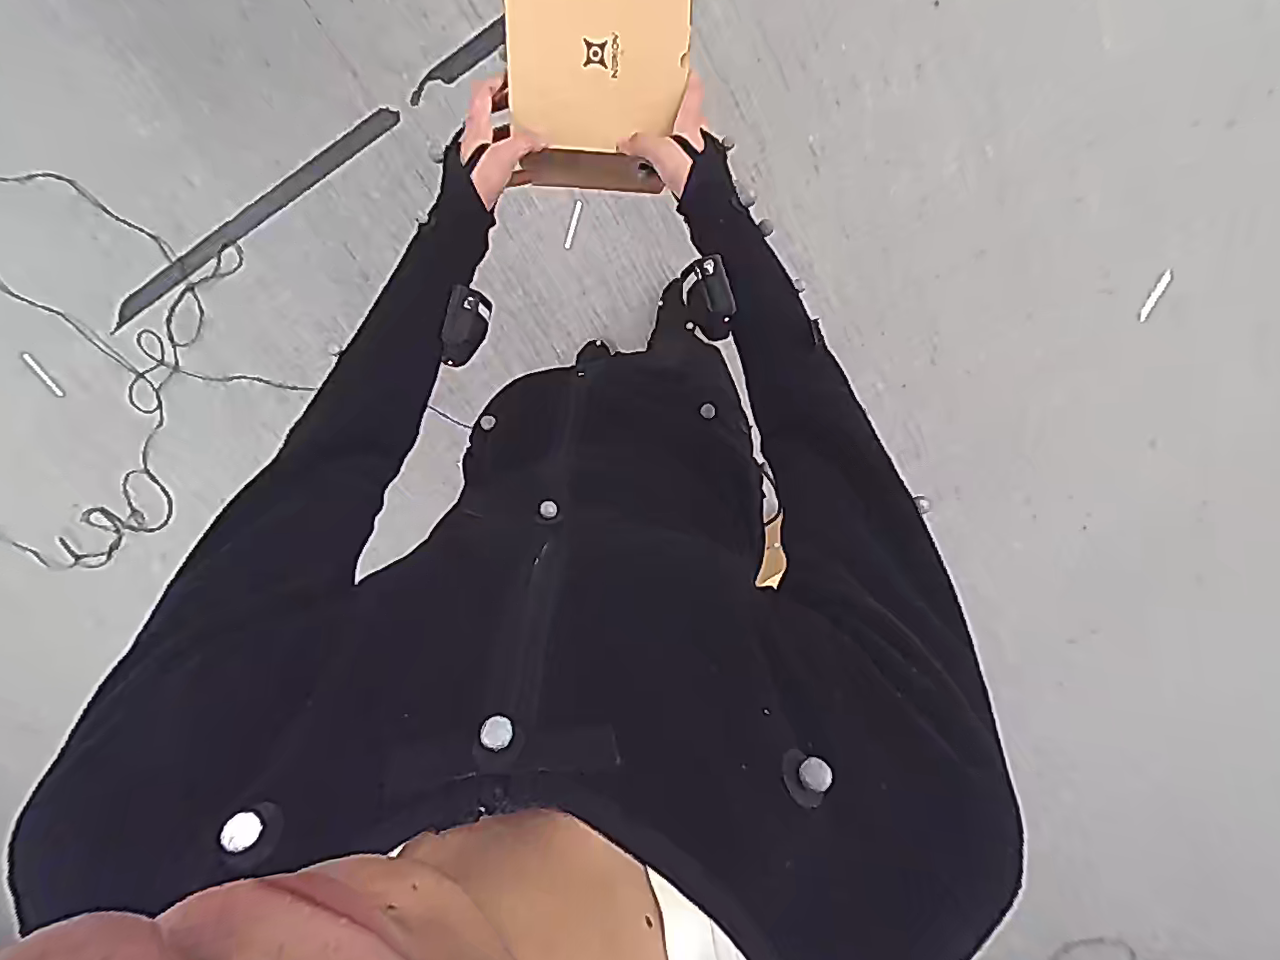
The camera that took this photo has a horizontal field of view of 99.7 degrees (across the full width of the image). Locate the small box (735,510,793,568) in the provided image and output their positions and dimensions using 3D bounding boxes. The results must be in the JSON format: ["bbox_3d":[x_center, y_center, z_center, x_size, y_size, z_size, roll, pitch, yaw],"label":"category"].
[{"bbox_3d":[0.413,0.221,1.650,0.168,0.176,0.179,-35,105,11],"label":"small box"}]

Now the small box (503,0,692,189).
[{"bbox_3d":[-0.049,-0.427,0.585,0.179,0.176,0.168,-1,107,-8],"label":"small box"}]
